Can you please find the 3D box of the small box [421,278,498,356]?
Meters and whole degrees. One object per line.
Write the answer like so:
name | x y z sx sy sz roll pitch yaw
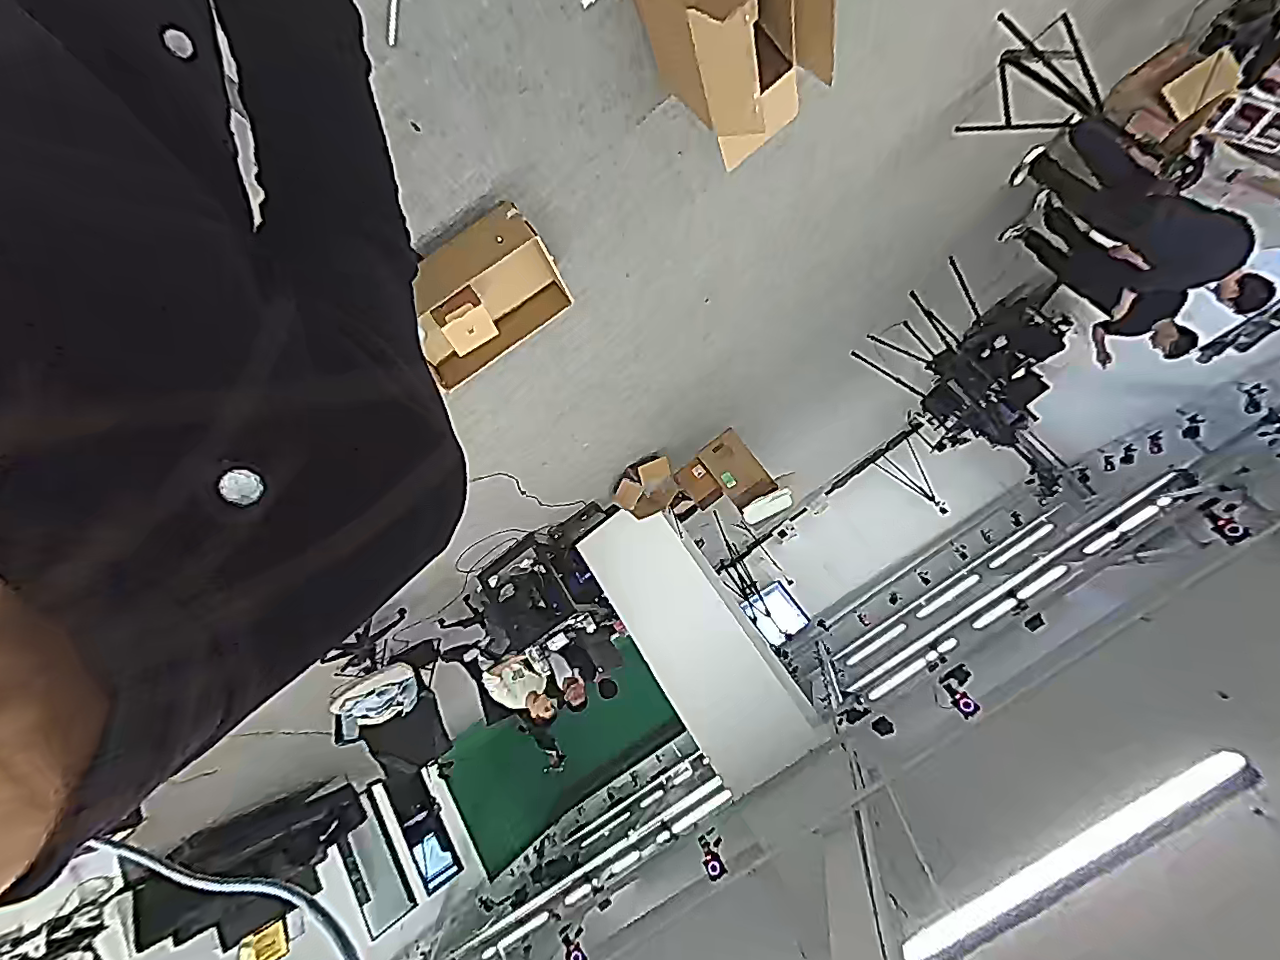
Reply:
small box | -0.631 -0.576 1.886 0.168 0.176 0.179 -33 161 -7
